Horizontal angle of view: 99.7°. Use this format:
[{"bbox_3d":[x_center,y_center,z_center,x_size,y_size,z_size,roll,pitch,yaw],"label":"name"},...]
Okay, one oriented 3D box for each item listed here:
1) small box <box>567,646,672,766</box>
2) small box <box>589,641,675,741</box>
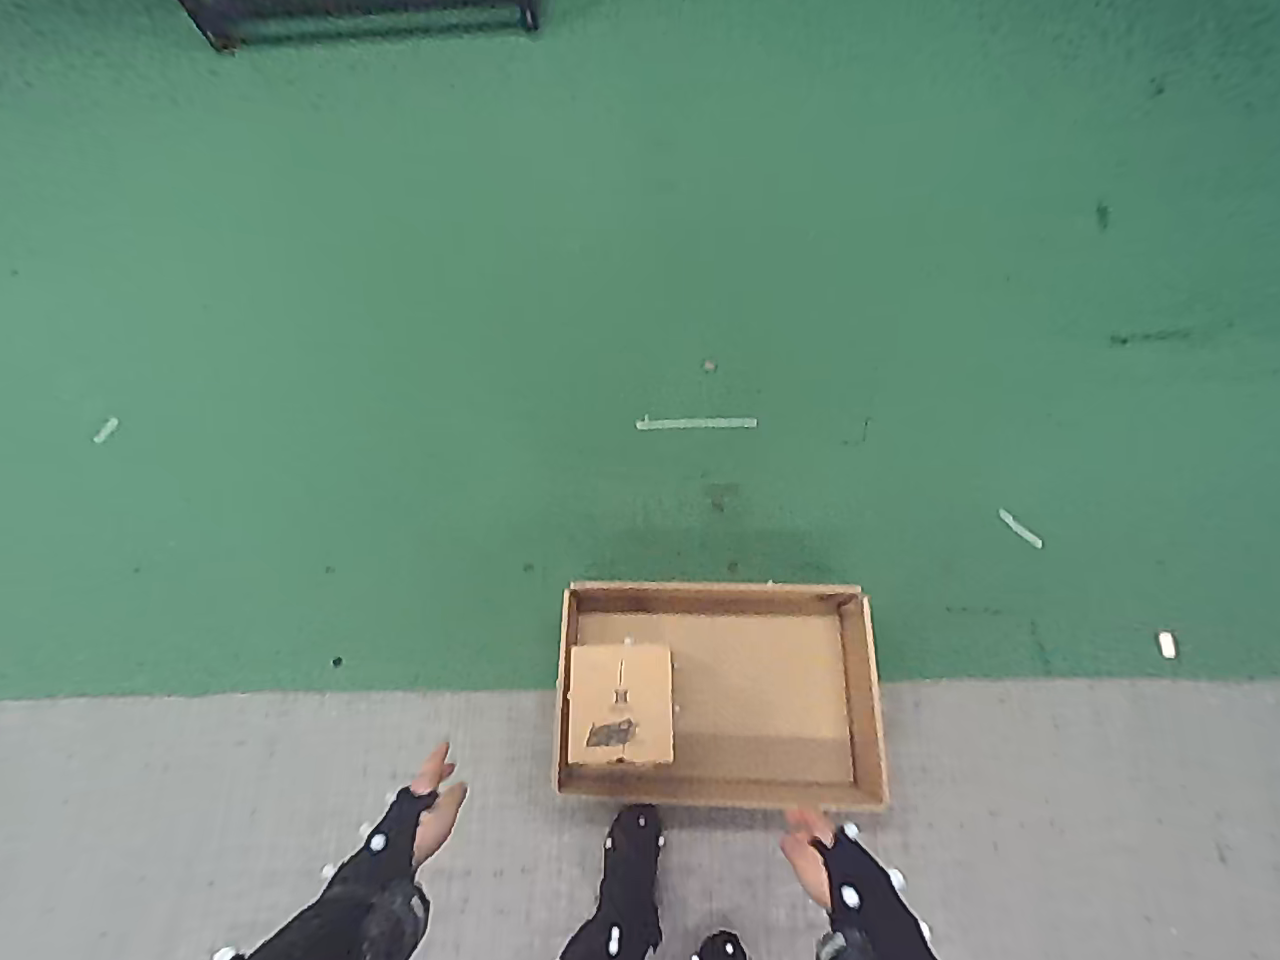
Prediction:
[{"bbox_3d":[-0.028,0.380,0.929,0.168,0.176,0.179,0,70,1],"label":"small box"},{"bbox_3d":[-0.017,0.422,1.088,0.168,0.176,0.179,-2,71,2],"label":"small box"}]
